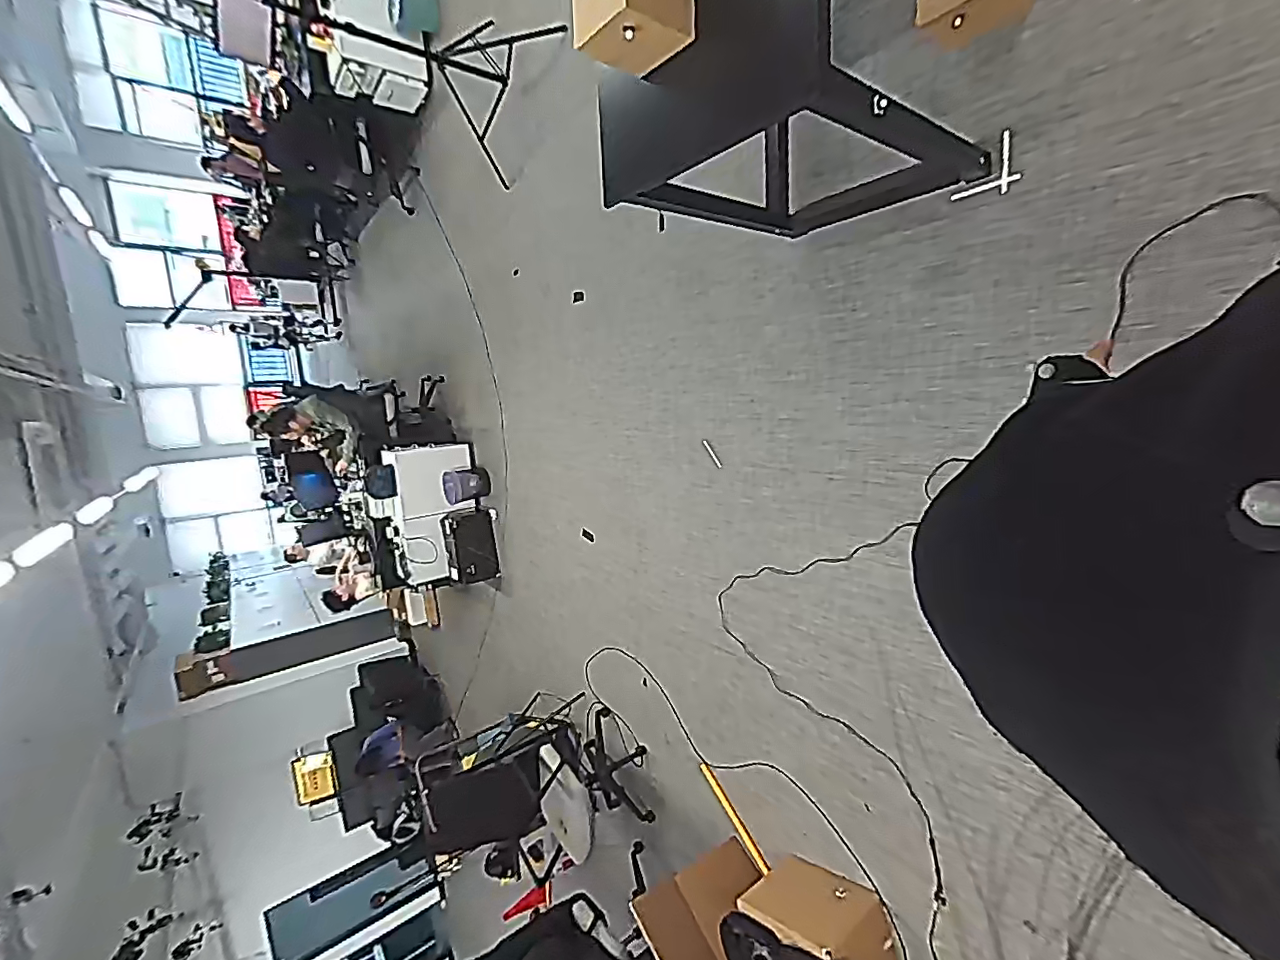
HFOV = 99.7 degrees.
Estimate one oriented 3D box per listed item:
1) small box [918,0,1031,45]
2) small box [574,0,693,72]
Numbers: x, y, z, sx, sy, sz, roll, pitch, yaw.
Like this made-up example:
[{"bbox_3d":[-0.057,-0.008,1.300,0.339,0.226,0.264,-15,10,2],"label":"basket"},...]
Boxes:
[{"bbox_3d":[0.747,-1.119,1.200,0.179,0.176,0.168,8,105,52],"label":"small box"},{"bbox_3d":[-0.010,-0.927,1.032,0.179,0.176,0.168,14,109,52],"label":"small box"}]
